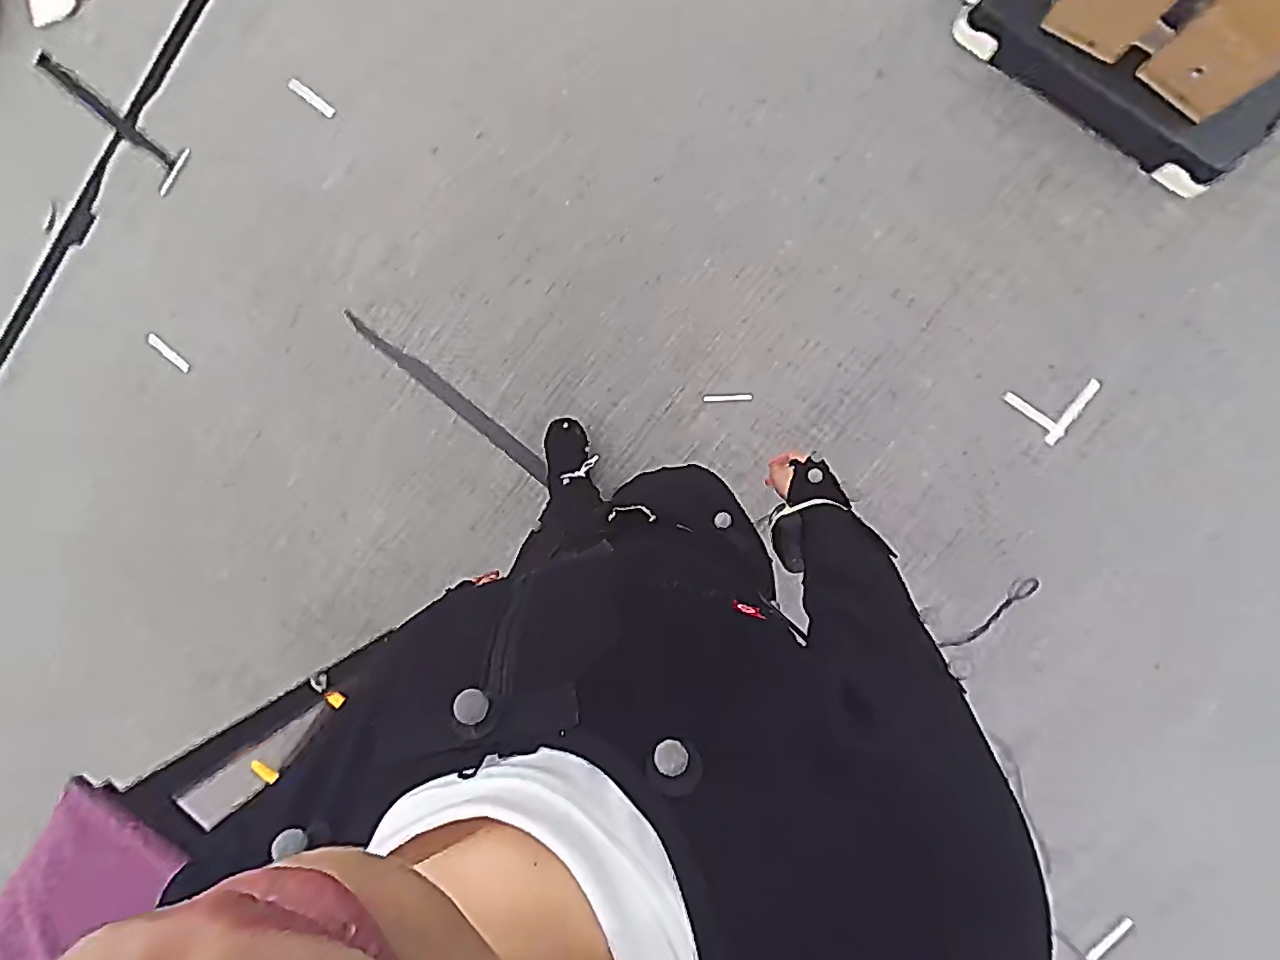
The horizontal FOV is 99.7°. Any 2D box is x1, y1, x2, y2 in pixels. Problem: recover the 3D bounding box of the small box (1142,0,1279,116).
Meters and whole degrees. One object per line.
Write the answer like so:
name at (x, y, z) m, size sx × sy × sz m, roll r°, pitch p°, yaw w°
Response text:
small box at (1.128, -0.853, 1.031) m, size 0.168 × 0.176 × 0.179 m, roll 42°, pitch 97°, yaw 2°
